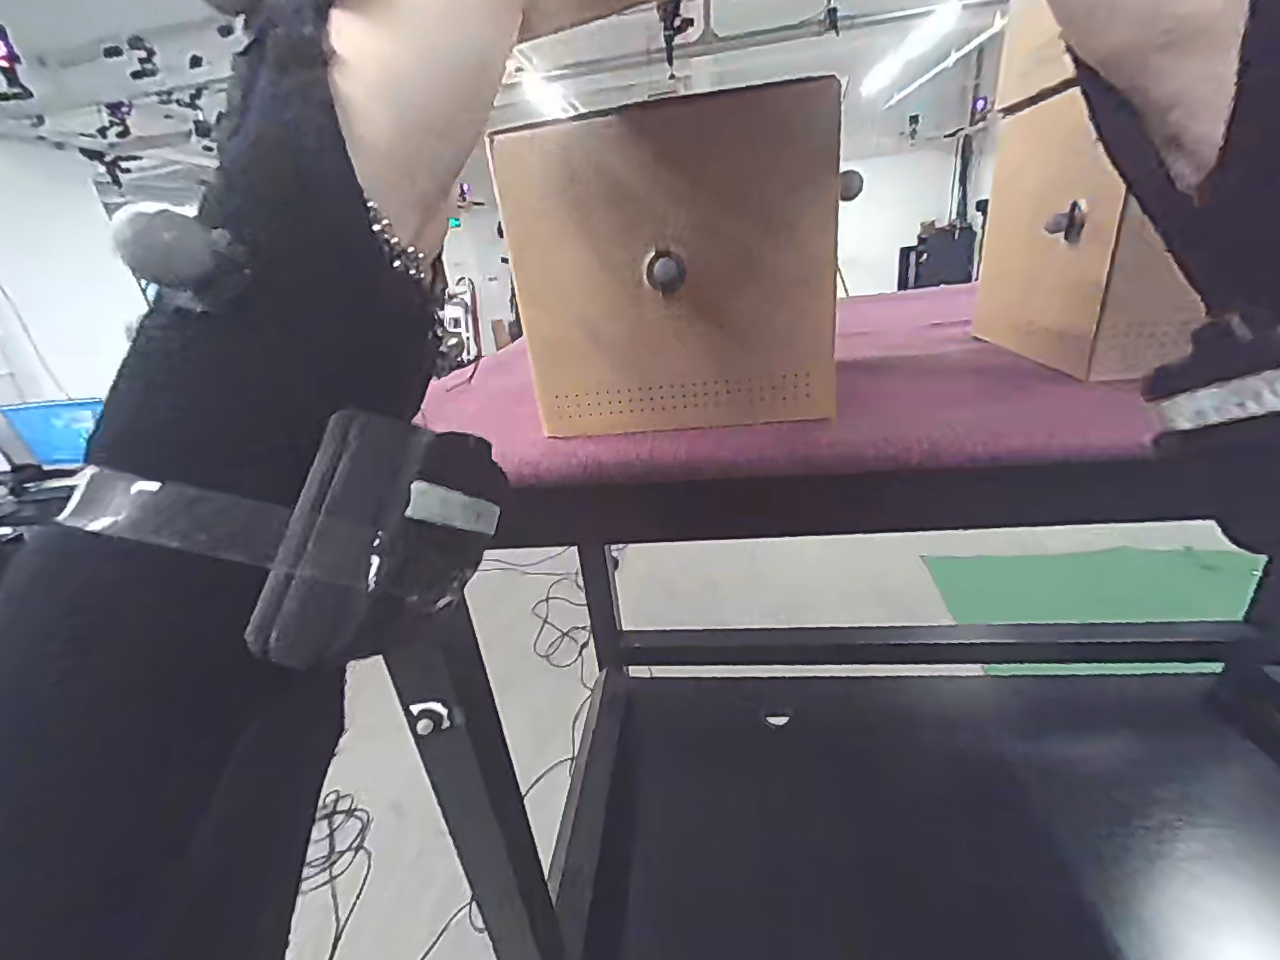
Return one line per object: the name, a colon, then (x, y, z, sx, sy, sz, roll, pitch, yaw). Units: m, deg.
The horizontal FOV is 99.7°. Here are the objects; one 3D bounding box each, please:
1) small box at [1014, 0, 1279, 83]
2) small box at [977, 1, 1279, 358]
small box: (0.326, -0.326, 0.280, 0.179, 0.176, 0.168, -2, 25, 10)
small box: (0.344, -0.175, 0.344, 0.168, 0.176, 0.179, -2, 23, 10)
